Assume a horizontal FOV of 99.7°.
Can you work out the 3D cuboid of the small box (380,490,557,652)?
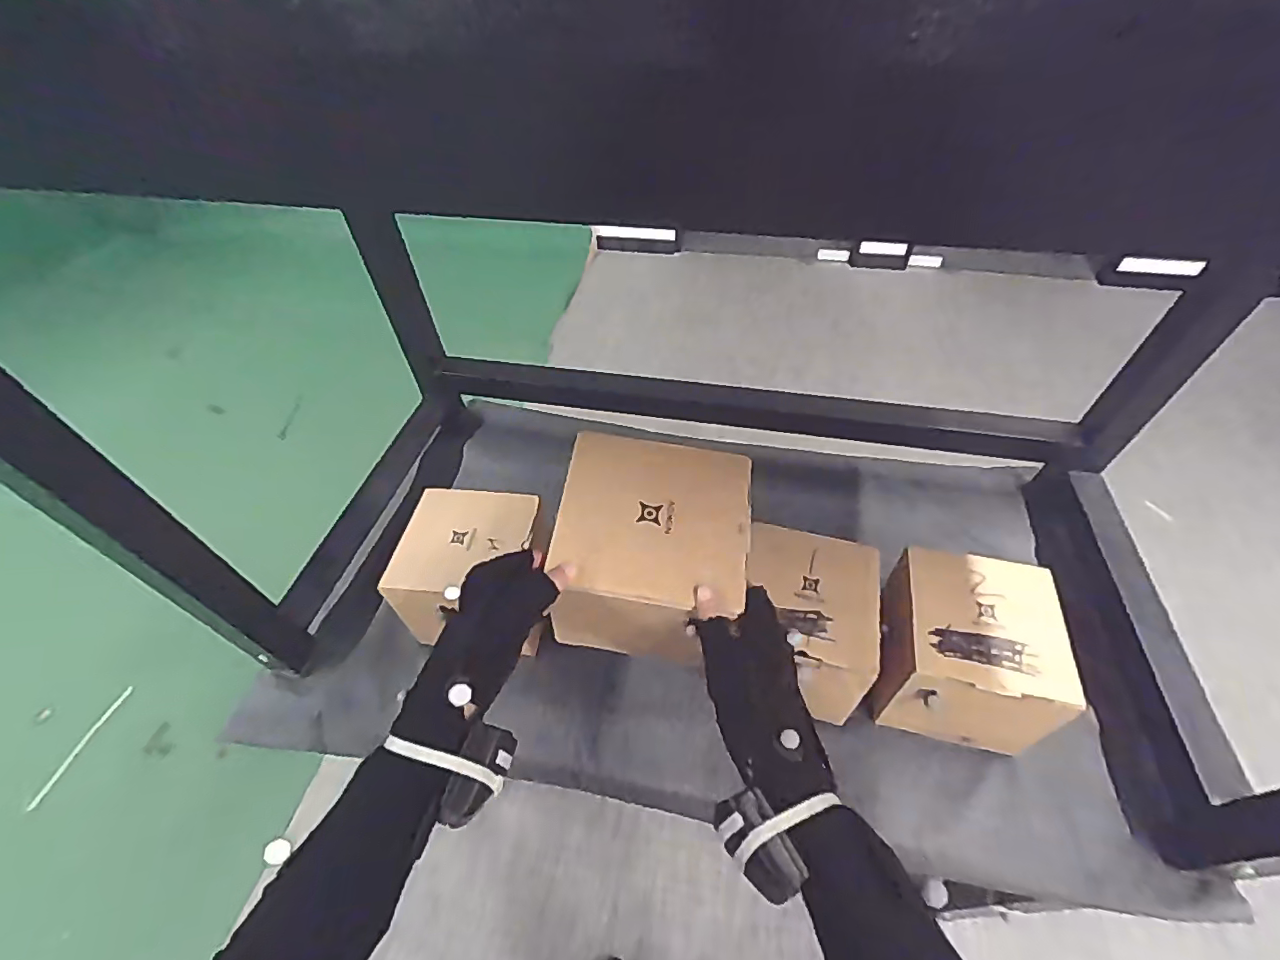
[{"bbox_3d":[-0.232,0.134,0.784,0.179,0.176,0.168,5,50,6],"label":"small box"}]
